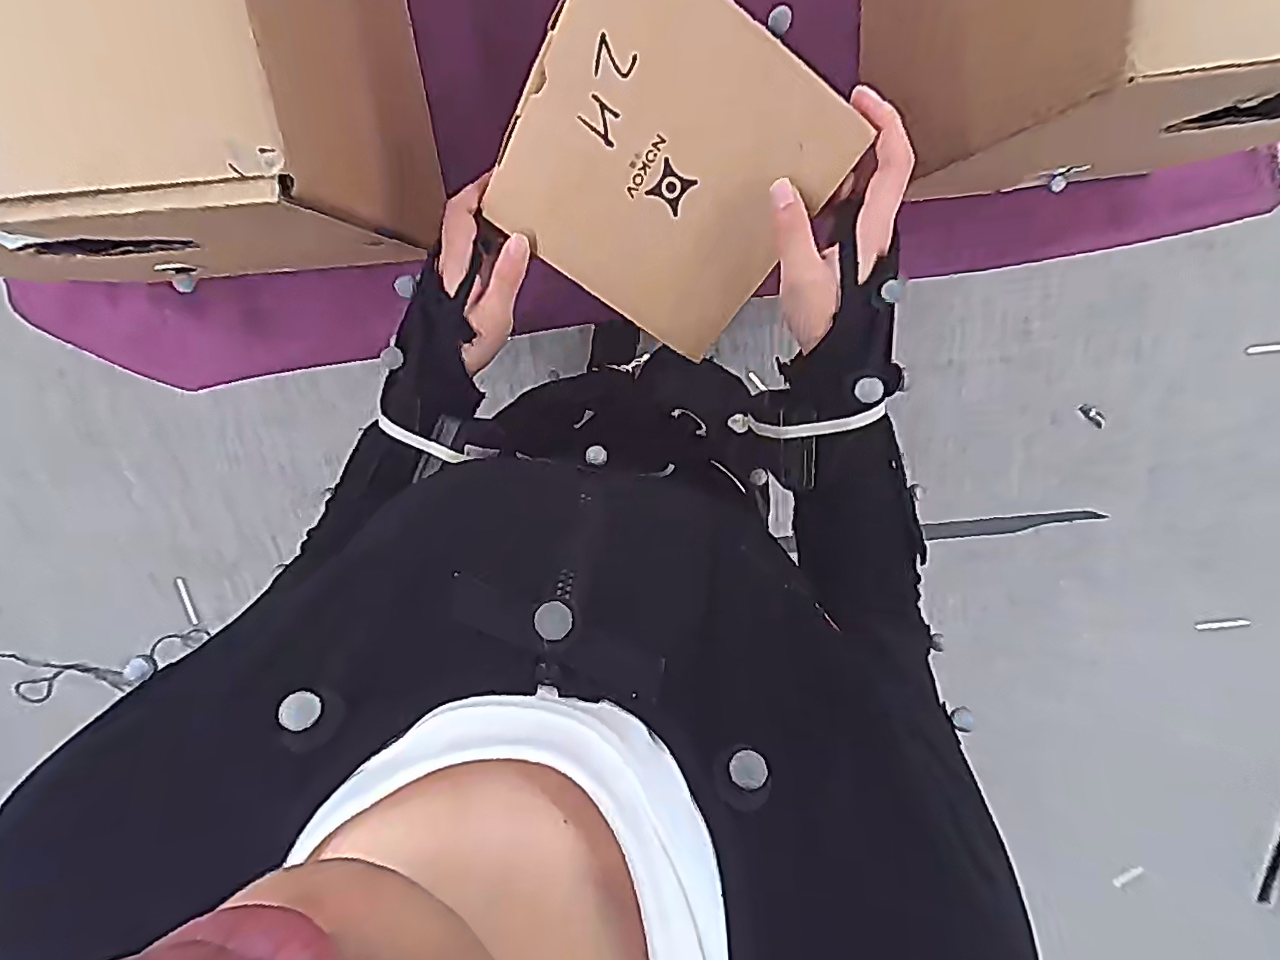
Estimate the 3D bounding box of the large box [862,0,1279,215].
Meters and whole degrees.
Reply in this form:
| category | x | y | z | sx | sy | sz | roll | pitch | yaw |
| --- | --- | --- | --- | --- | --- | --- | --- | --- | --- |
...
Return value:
| category | x | y | z | sx | sy | sz | roll | pitch | yaw |
| --- | --- | --- | --- | --- | --- | --- | --- | --- | --- |
| large box | 0.351 | -0.428 | 0.340 | 0.320 | 0.320 | 0.408 | -7 | 106 | -1 |

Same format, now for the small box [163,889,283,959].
| category | x | y | z | sx | sy | sz | roll | pitch | yaw |
| --- | --- | --- | --- | --- | --- | --- | --- | --- | --- |
| small box | -1.135 | 1.267 | 1.487 | 0.168 | 0.176 | 0.179 | -13 | 108 | 2 |
